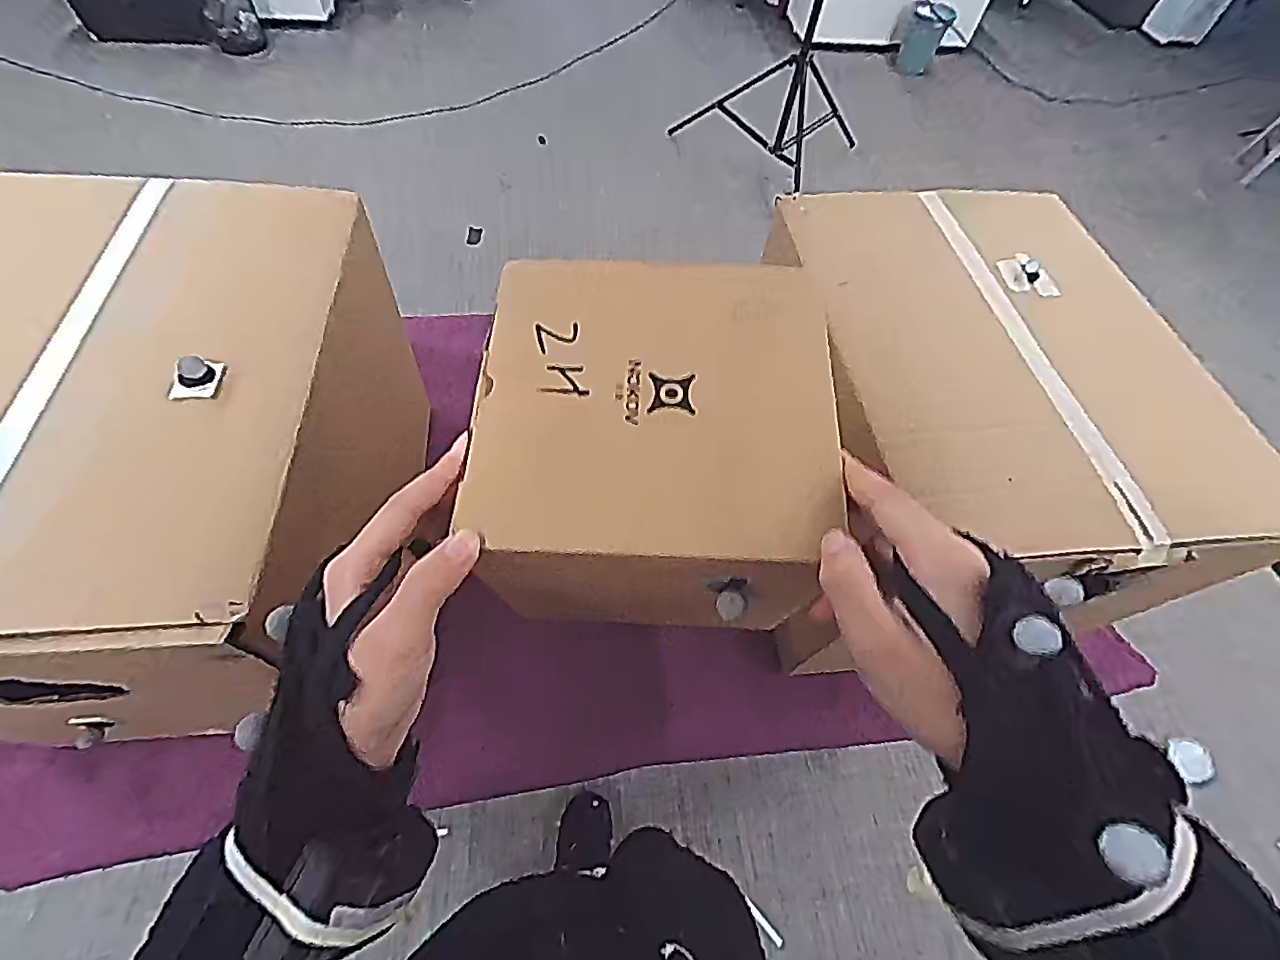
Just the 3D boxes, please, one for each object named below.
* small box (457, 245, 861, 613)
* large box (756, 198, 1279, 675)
[{"bbox_3d":[0.012,-0.017,0.334,0.179,0.176,0.168,1,65,3],"label":"small box"},{"bbox_3d":[0.295,-0.043,0.587,0.320,0.320,0.408,-3,57,-7],"label":"large box"}]
